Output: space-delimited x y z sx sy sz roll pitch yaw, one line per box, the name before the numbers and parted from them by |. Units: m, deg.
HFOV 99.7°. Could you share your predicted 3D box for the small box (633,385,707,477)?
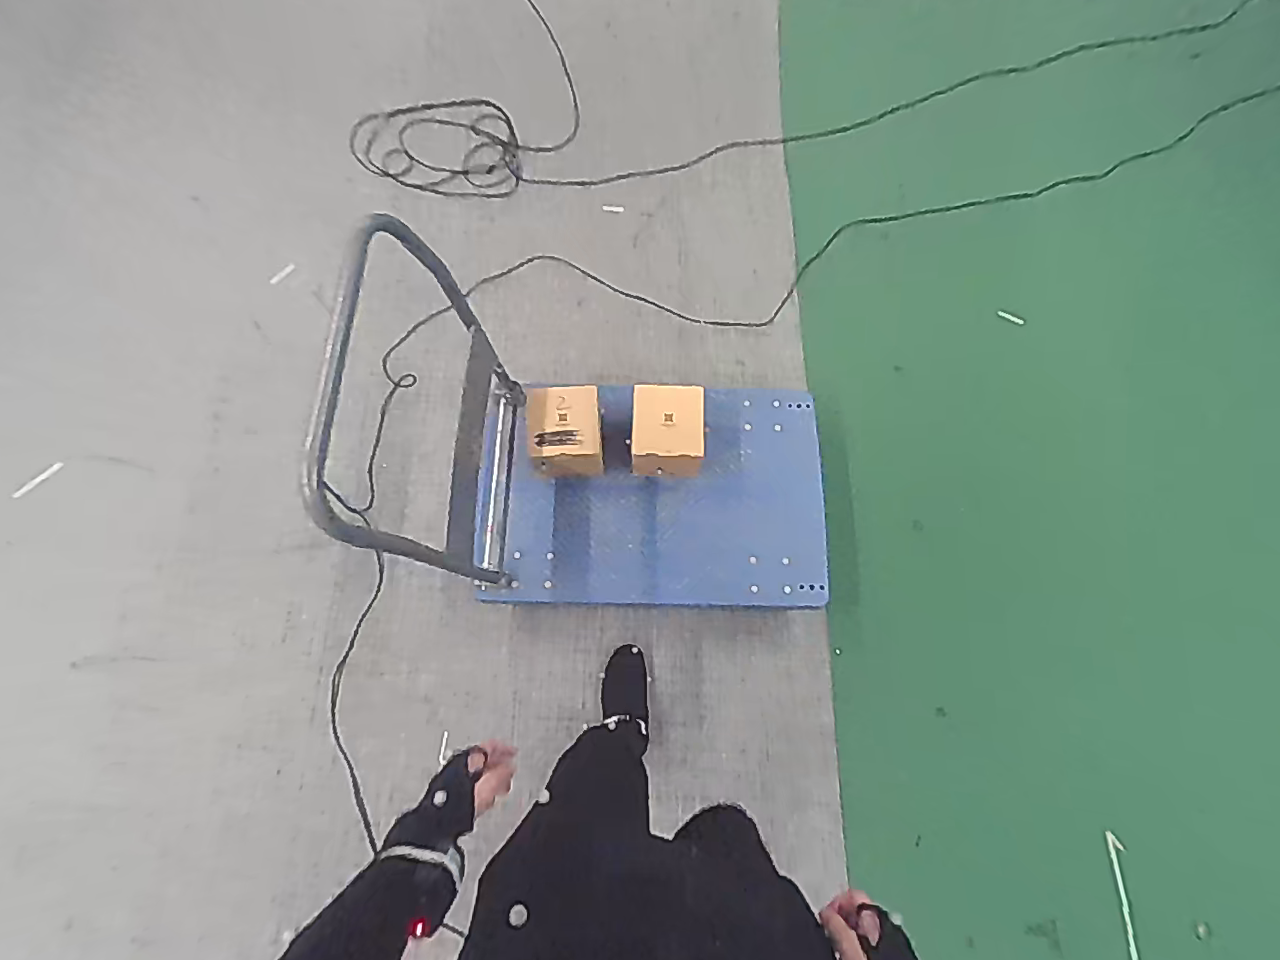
small box | 0.070 -0.116 1.325 0.168 0.176 0.179 2 75 -1
